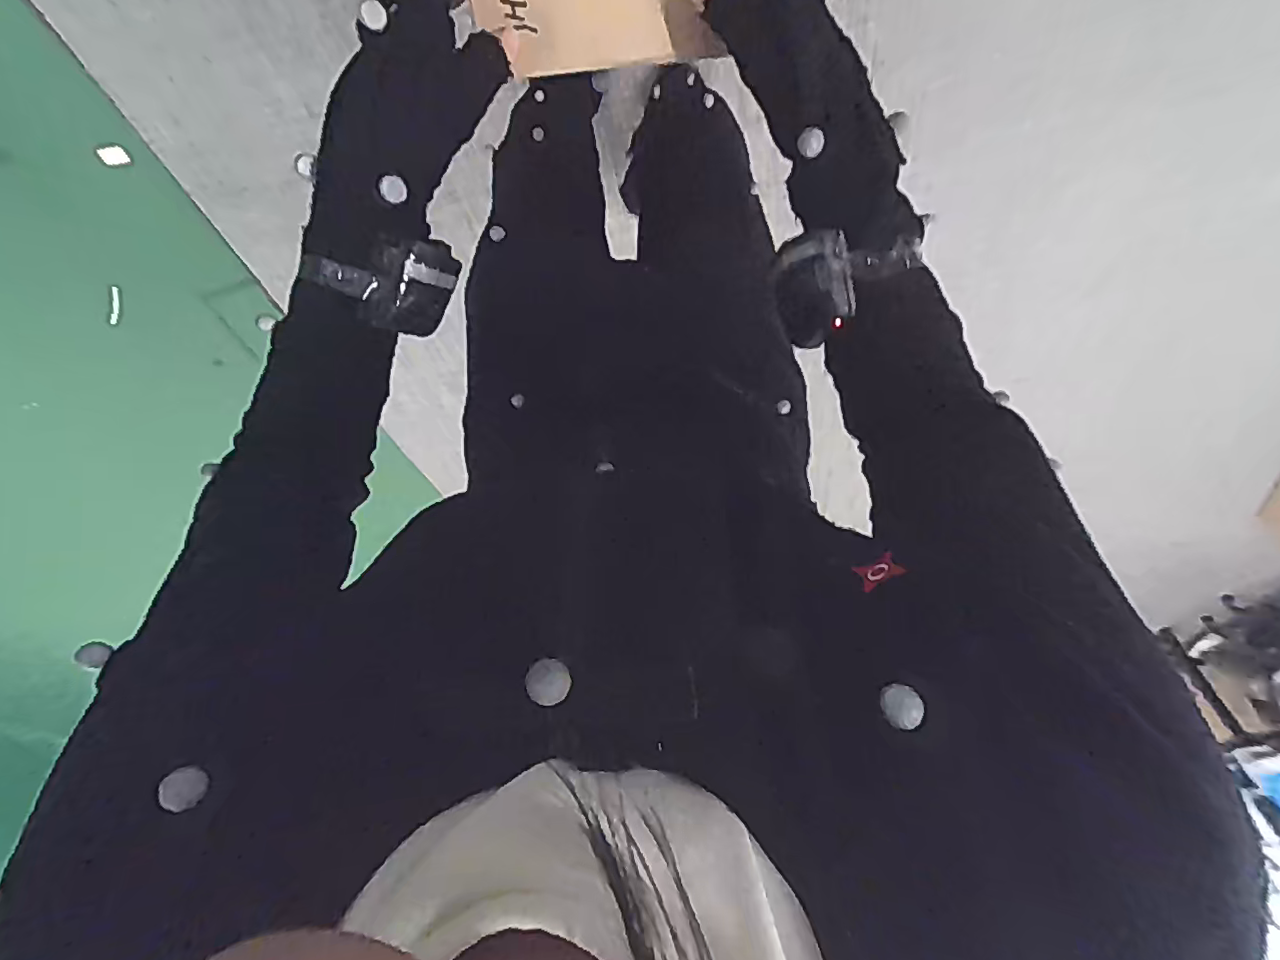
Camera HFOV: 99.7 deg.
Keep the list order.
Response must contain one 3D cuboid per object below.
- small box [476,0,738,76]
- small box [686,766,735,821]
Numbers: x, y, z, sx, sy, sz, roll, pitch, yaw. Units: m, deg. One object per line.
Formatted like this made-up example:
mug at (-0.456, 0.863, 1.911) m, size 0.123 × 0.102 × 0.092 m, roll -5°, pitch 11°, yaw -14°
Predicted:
small box at (-0.035, -0.399, 0.386) m, size 0.179 × 0.176 × 0.168 m, roll -8°, pitch 128°, yaw -4°
small box at (0.293, 1.315, 2.267) m, size 0.179 × 0.176 × 0.168 m, roll -11°, pitch 142°, yaw 4°
